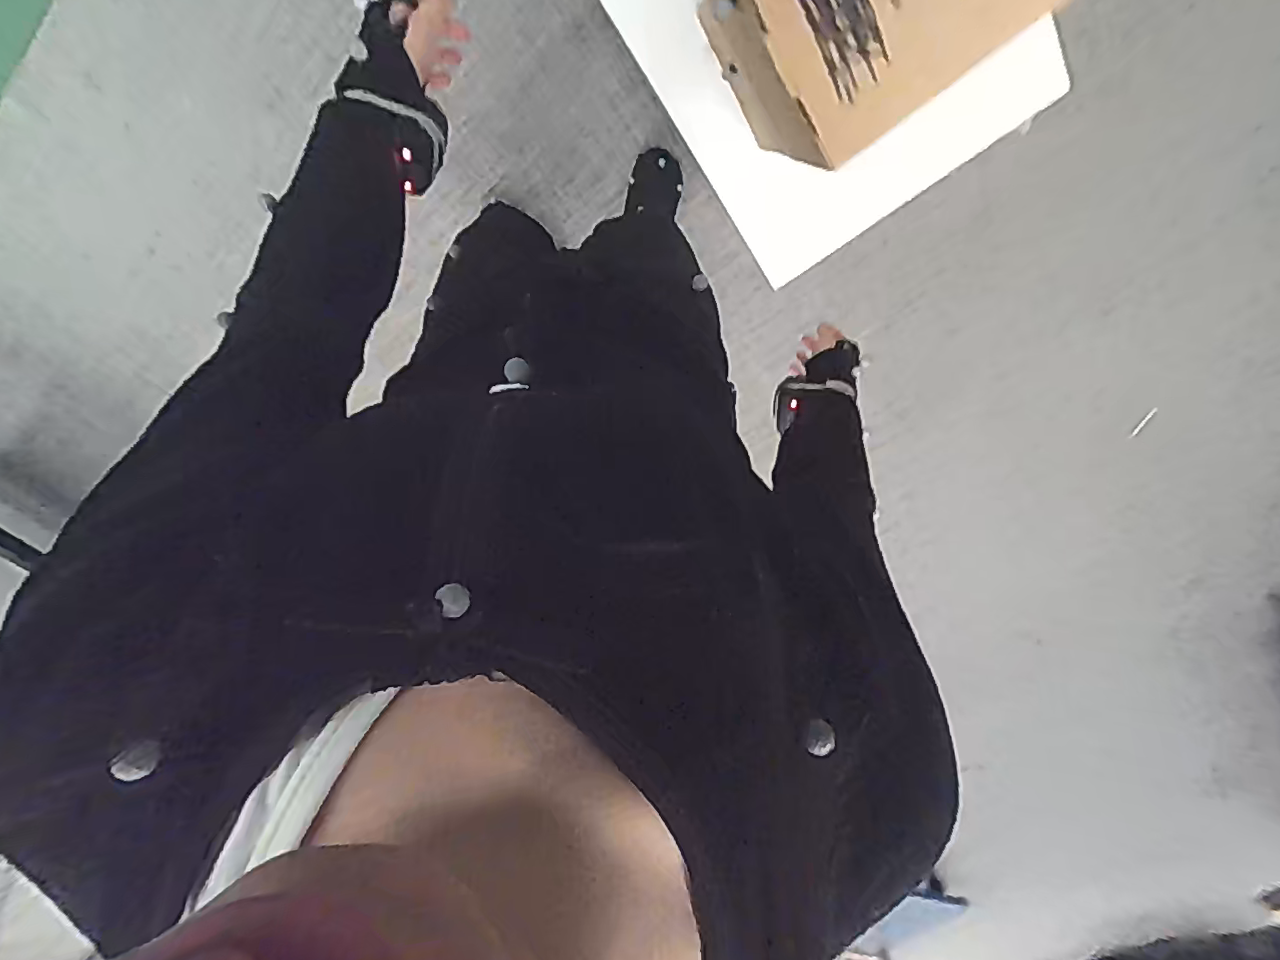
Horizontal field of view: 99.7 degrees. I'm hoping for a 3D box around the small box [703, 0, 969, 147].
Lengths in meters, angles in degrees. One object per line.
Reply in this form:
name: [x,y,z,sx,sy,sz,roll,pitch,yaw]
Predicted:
small box: [0.180,-0.470,0.540,0.179,0.176,0.168,-30,118,19]
